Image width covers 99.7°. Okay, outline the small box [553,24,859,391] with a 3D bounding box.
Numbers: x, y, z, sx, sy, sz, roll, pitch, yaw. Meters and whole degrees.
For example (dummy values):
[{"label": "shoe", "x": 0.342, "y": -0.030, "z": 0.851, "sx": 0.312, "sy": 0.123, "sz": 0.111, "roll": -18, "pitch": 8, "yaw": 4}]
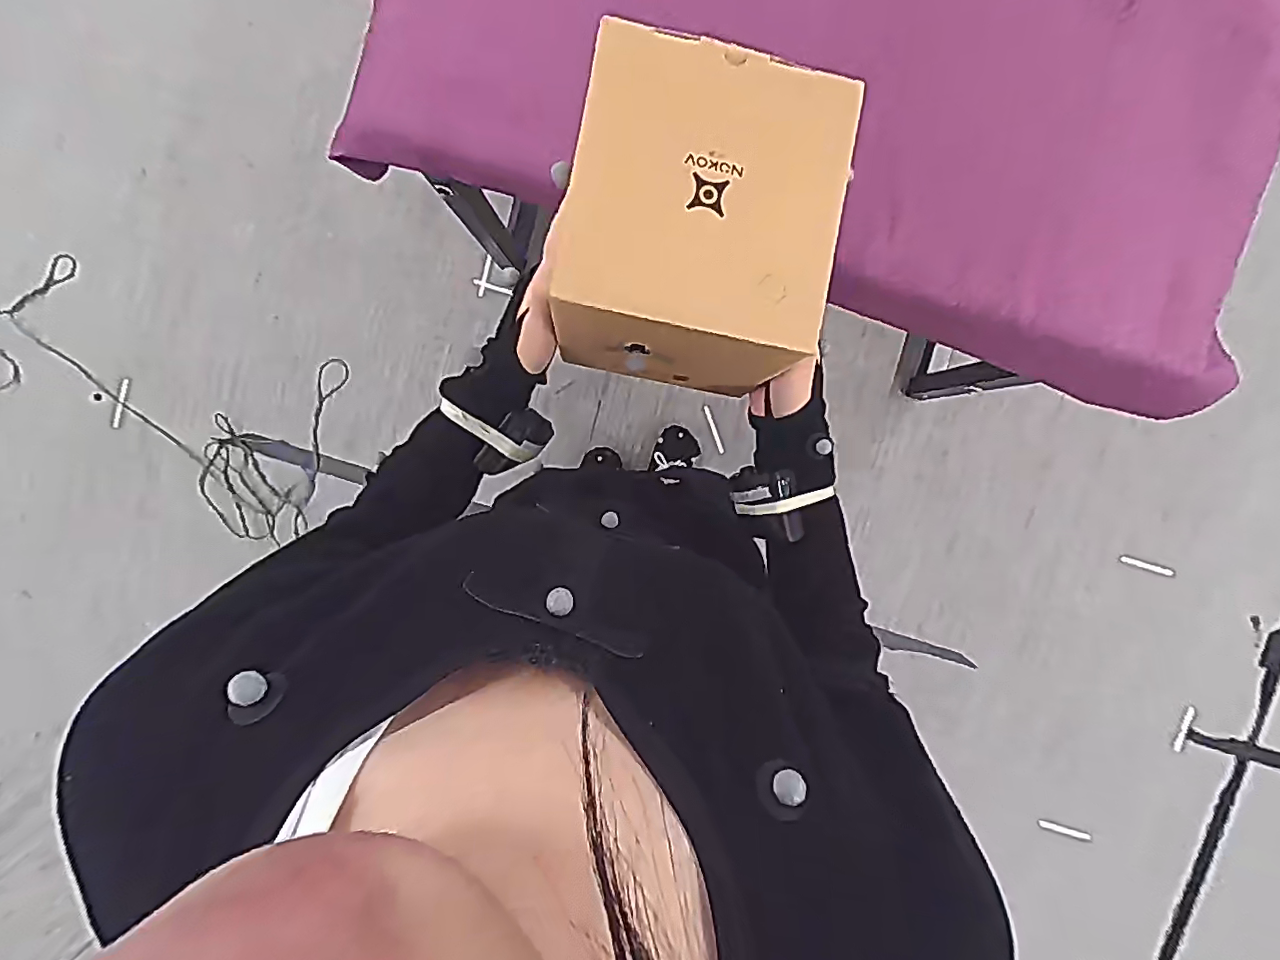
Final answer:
[{"label": "small box", "x": 0.037, "y": -0.176, "z": 0.410, "sx": 0.168, "sy": 0.176, "sz": 0.179, "roll": 11, "pitch": 87, "yaw": -5}]
